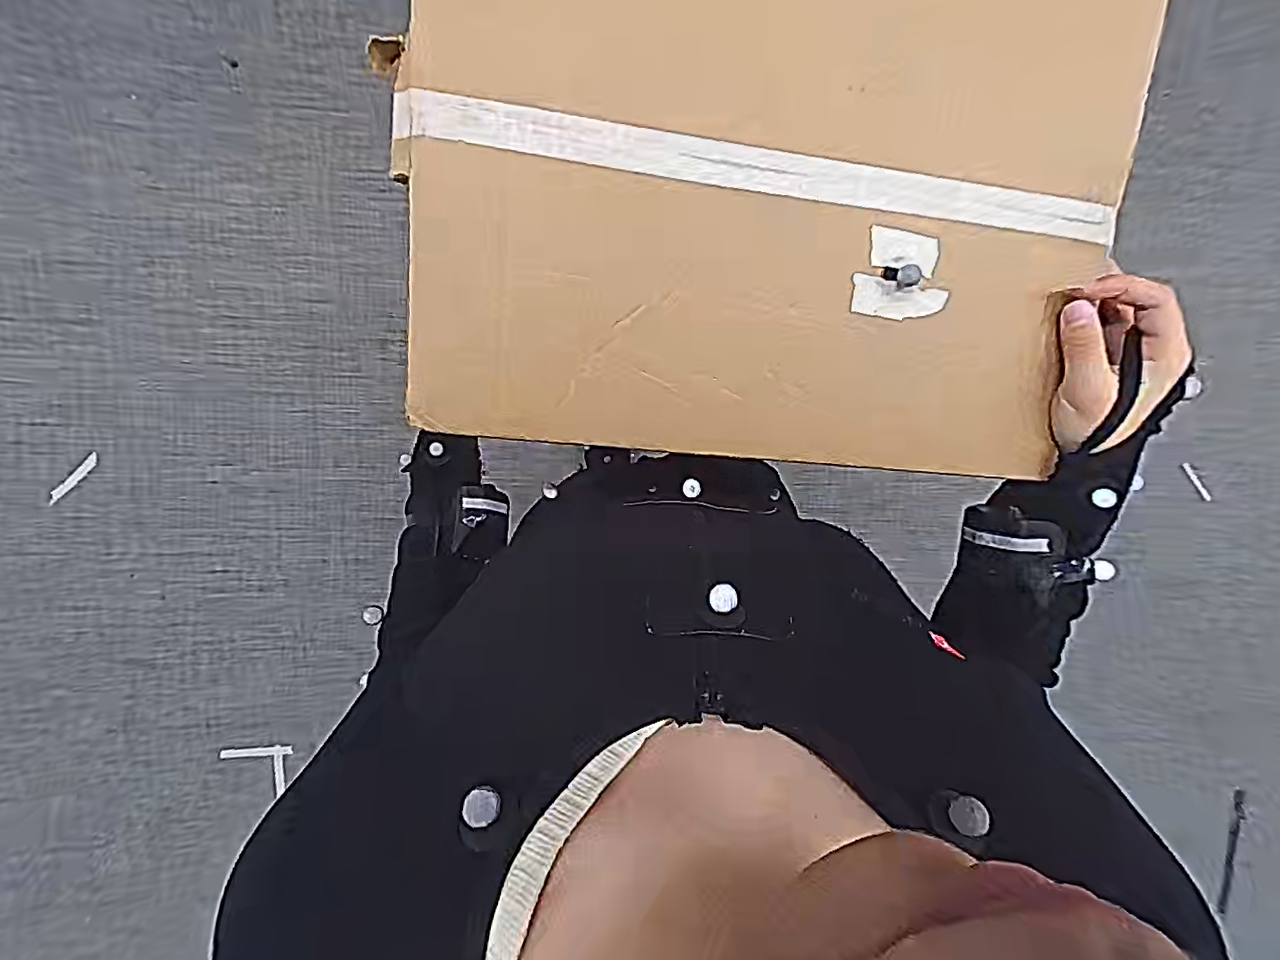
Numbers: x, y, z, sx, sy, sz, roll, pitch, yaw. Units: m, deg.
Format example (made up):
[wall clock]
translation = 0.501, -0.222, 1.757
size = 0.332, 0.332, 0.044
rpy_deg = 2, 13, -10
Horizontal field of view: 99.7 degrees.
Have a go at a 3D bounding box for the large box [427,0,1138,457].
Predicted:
[large box]
translation = 0.062, -0.202, 0.450
size = 0.408, 0.320, 0.320
rpy_deg = 4, 101, -11
